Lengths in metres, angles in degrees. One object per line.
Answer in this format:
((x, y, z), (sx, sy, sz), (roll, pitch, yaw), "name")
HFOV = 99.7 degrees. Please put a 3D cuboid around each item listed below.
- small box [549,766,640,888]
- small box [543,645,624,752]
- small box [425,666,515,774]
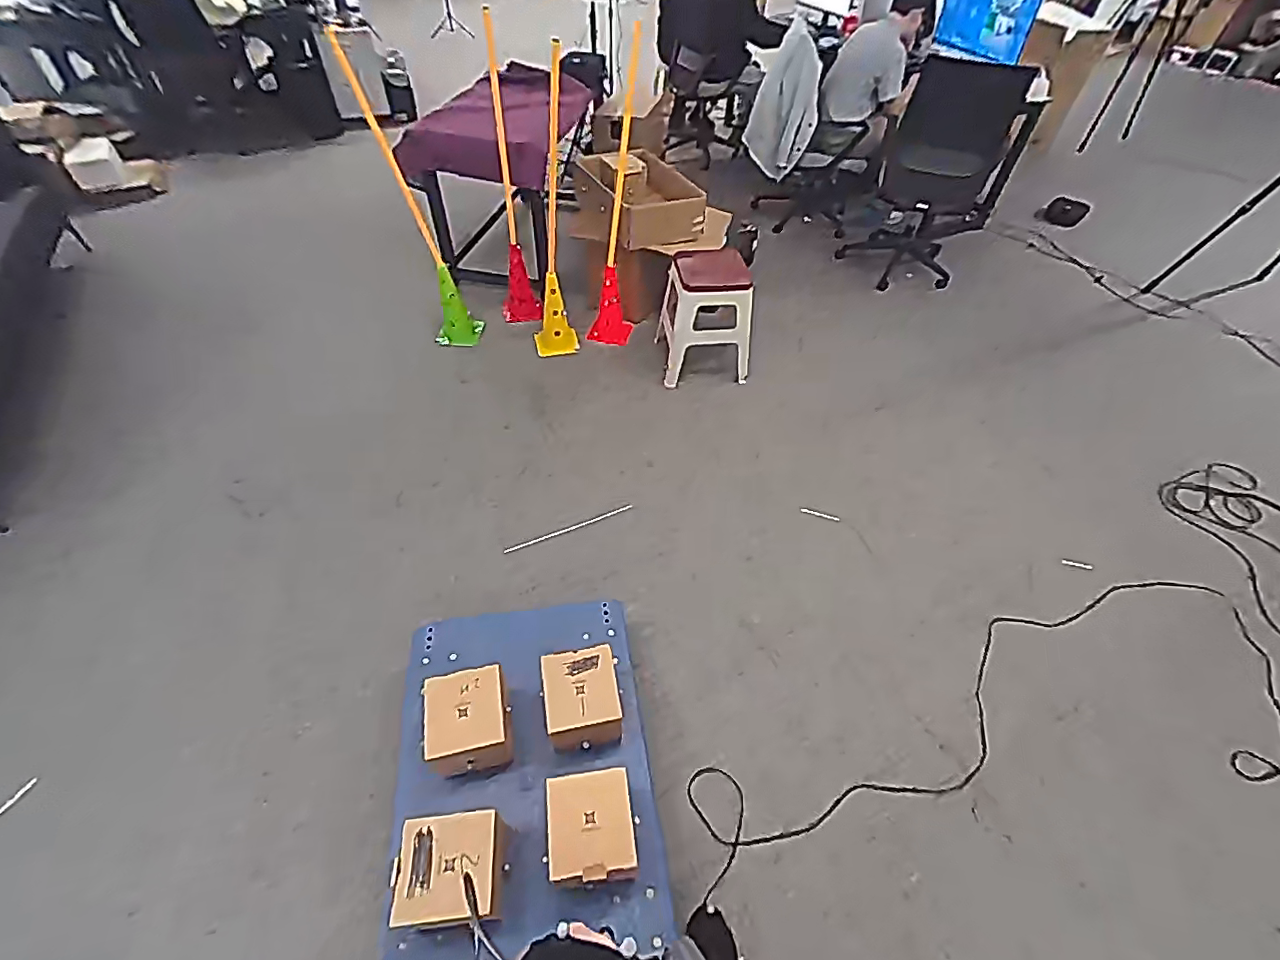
((-0.097, 0.718, 1.117), (0.168, 0.176, 0.179), (-6, 50, -7), "small box")
((-0.135, 0.519, 1.283), (0.168, 0.176, 0.179), (-9, 51, -8), "small box")
((-0.386, 0.557, 1.243), (0.168, 0.176, 0.179), (-9, 50, -11), "small box")
